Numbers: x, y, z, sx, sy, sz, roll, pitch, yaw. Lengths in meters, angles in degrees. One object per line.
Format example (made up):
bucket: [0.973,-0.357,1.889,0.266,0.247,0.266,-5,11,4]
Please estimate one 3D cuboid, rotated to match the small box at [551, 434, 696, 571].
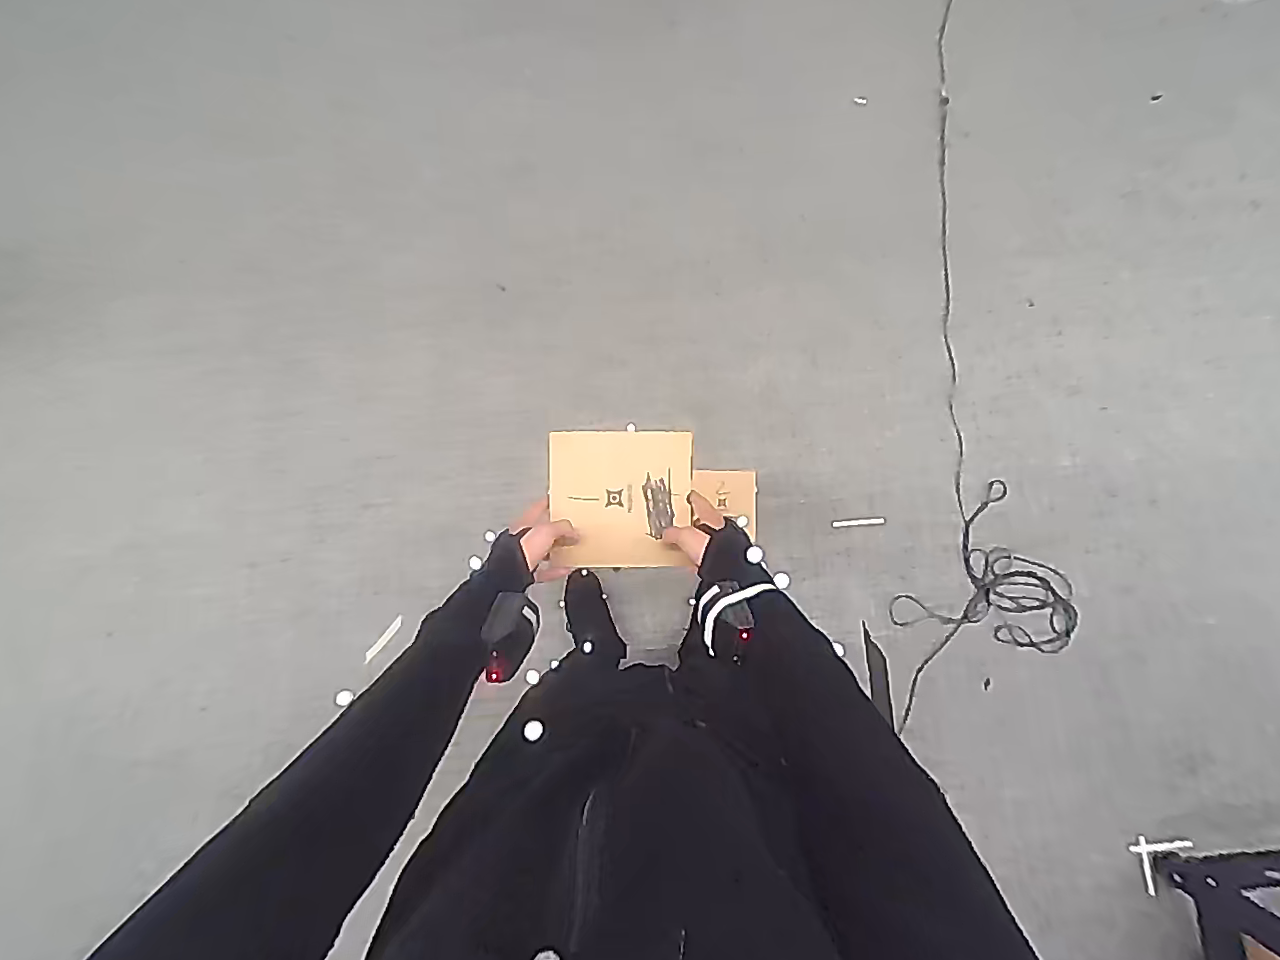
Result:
small box: [-0.022,0.028,0.729,0.179,0.176,0.168,0,88,-1]
